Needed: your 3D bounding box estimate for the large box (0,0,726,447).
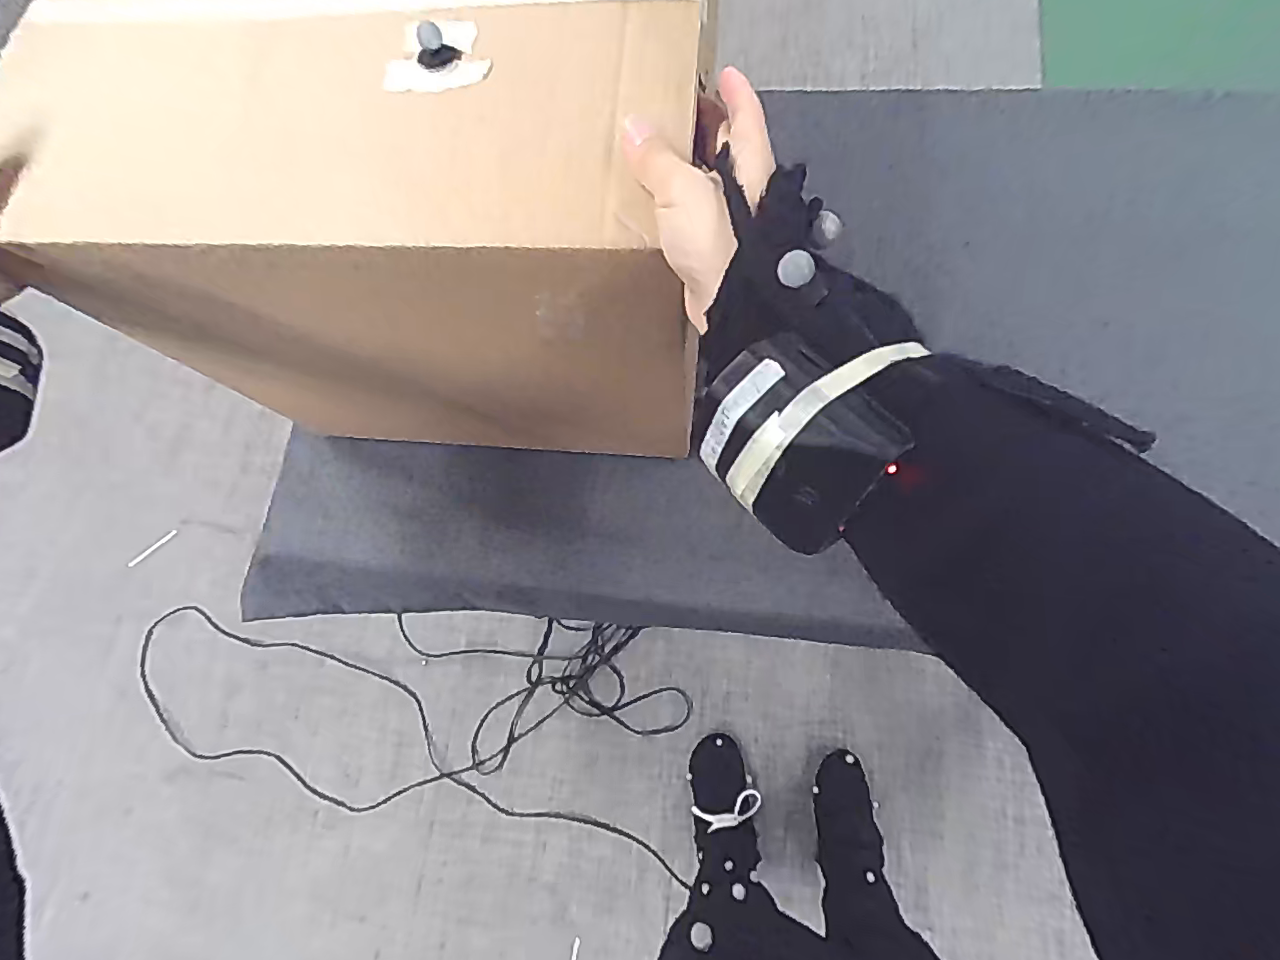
[{"bbox_3d":[-0.142,-0.226,0.460,0.408,0.320,0.320,4,75,5],"label":"large box"}]
